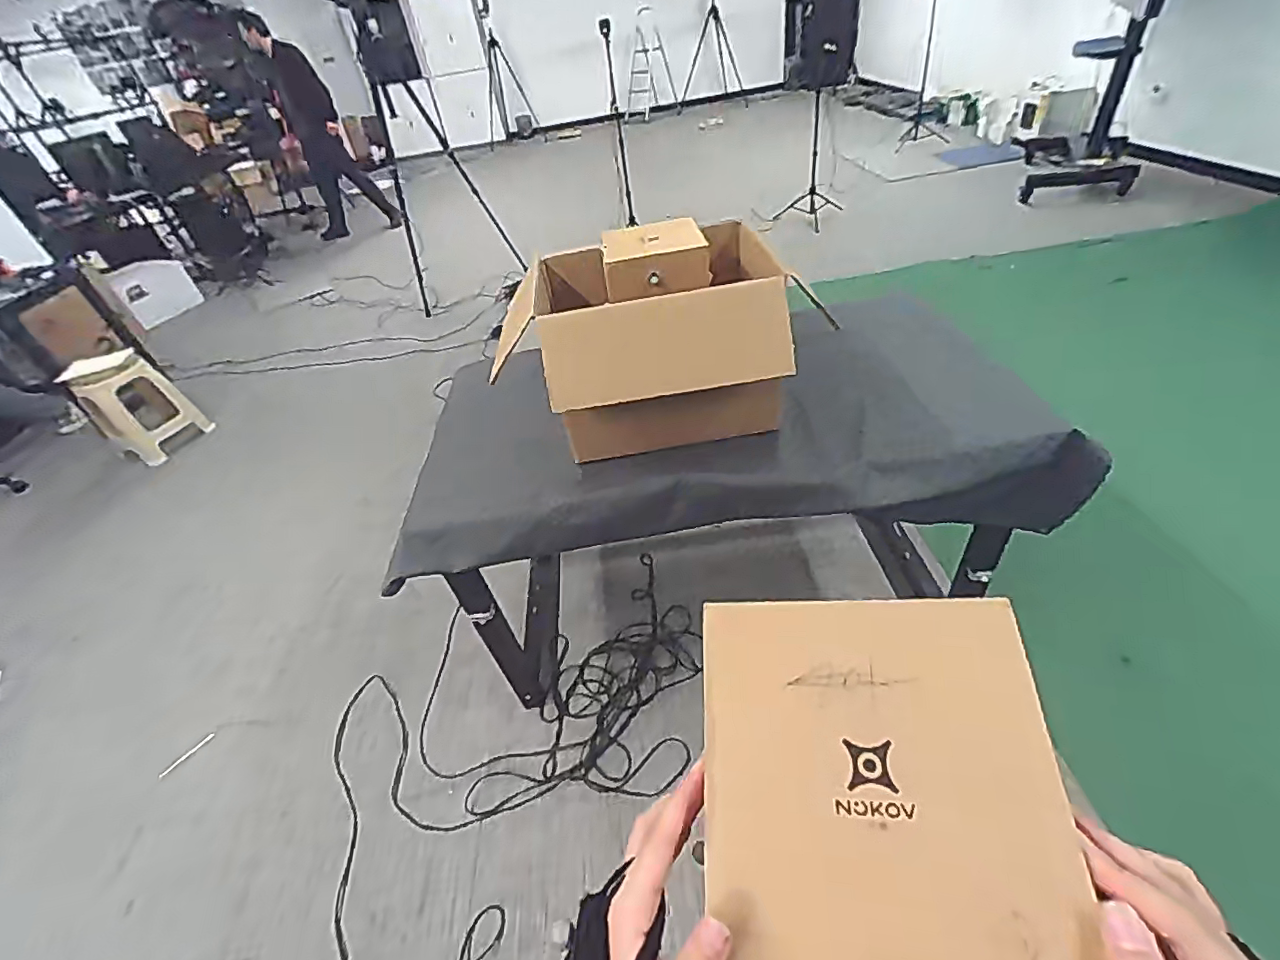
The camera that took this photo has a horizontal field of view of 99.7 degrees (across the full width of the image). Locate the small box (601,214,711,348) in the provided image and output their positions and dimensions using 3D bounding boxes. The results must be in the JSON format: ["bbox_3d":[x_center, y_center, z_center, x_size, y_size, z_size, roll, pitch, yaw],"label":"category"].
[{"bbox_3d":[0.030,-0.361,0.986,0.179,0.176,0.168,-9,41,1],"label":"small box"}]
